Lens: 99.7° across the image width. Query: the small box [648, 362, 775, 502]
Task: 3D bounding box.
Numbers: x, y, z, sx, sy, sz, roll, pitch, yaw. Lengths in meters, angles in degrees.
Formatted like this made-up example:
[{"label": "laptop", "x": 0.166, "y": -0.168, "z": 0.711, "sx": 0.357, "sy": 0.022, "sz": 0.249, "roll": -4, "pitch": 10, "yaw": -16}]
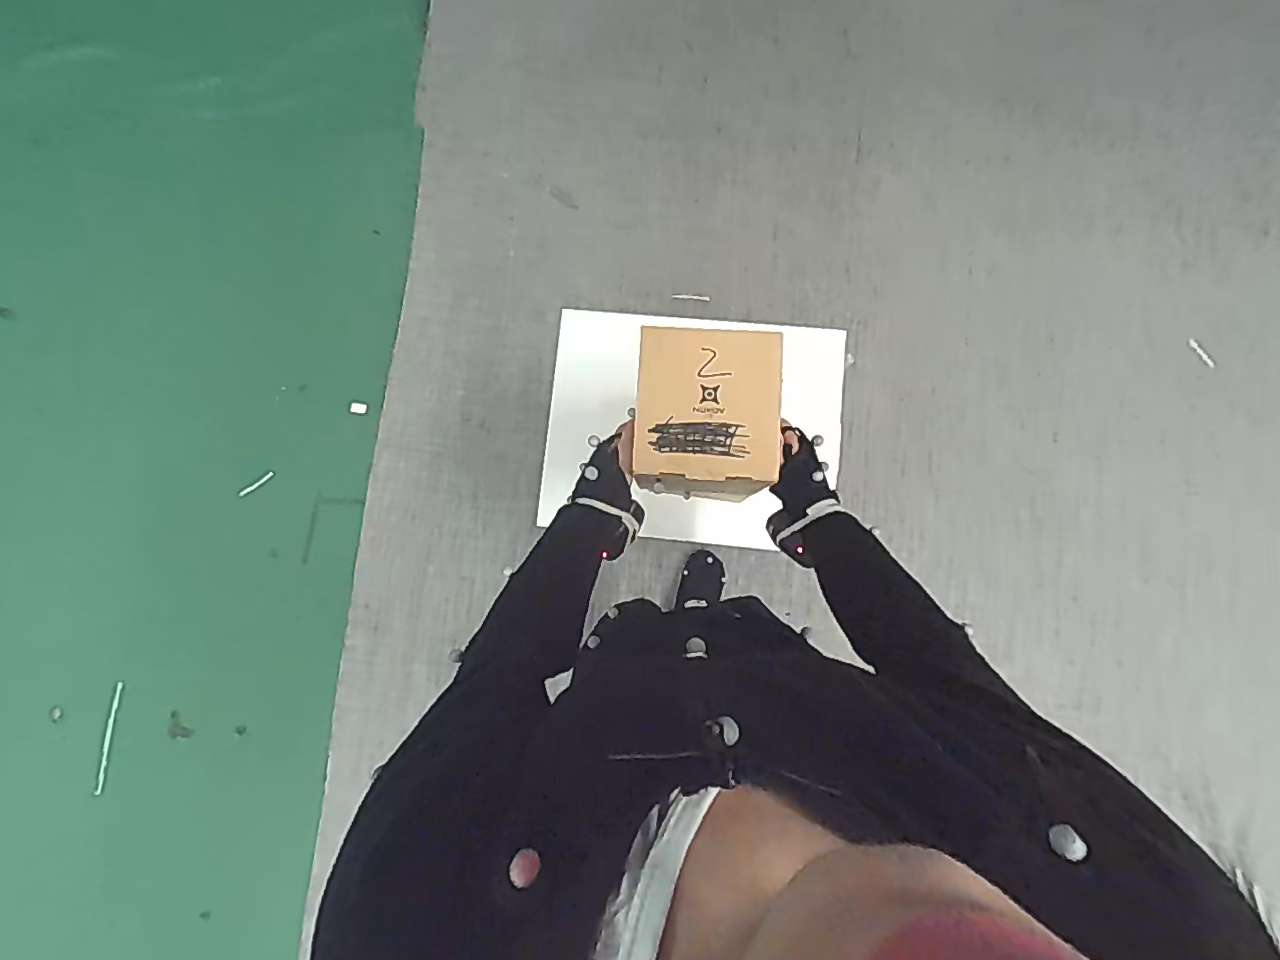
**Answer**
[{"label": "small box", "x": 0.106, "y": -0.067, "z": 0.849, "sx": 0.168, "sy": 0.176, "sz": 0.179, "roll": 7, "pitch": 84, "yaw": 4}]
